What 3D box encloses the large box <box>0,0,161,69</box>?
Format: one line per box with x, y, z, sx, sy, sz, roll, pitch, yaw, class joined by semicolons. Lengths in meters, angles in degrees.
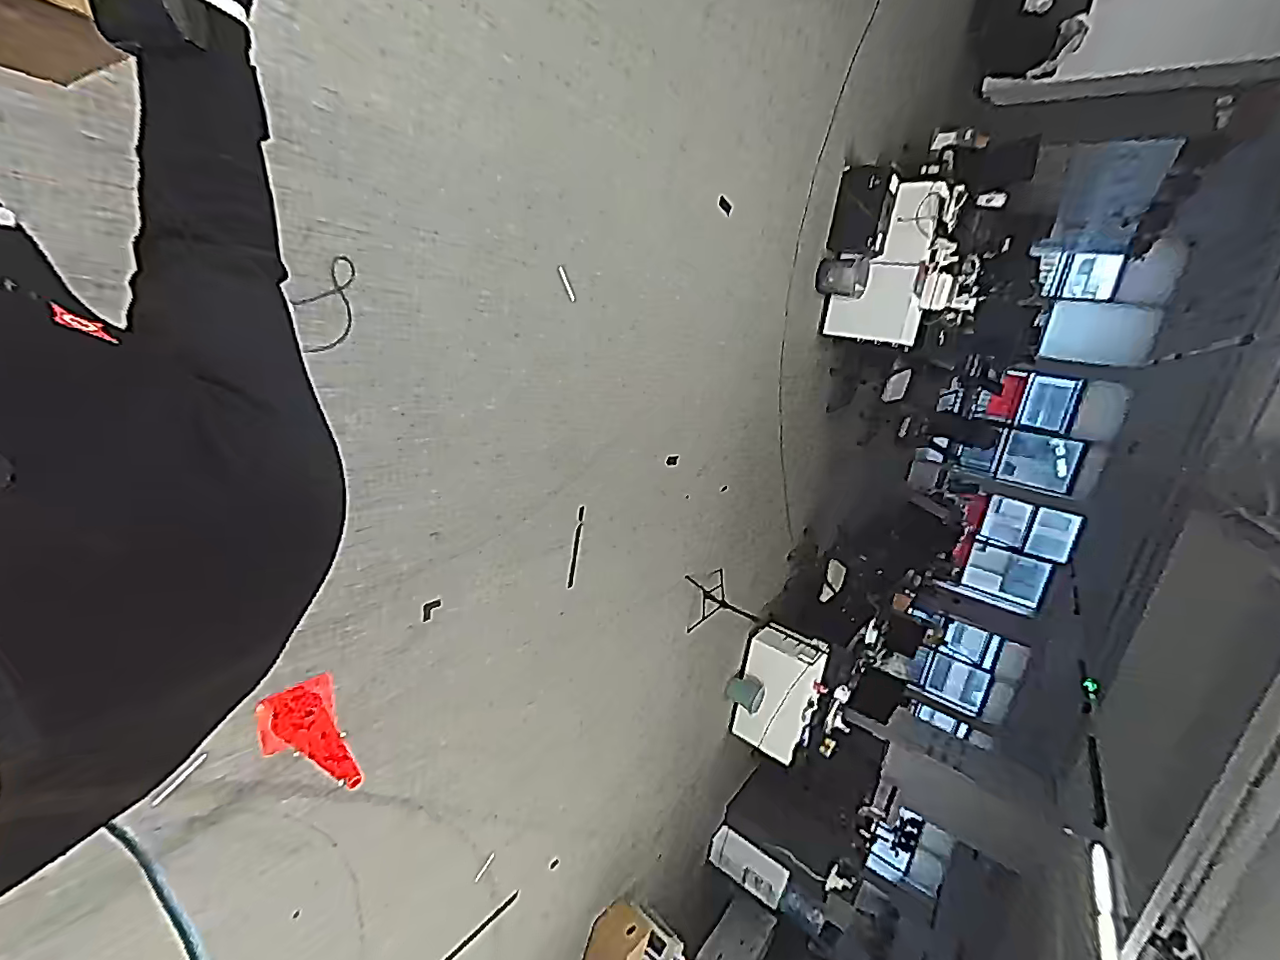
-0.541;-0.473;0.252;0.408;0.320;0.320;-12;118;-54;large box

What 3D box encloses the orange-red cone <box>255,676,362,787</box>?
-0.888;0.743;1.510;0.198;0.360;0.199;-16;117;-52;orange-red cone
